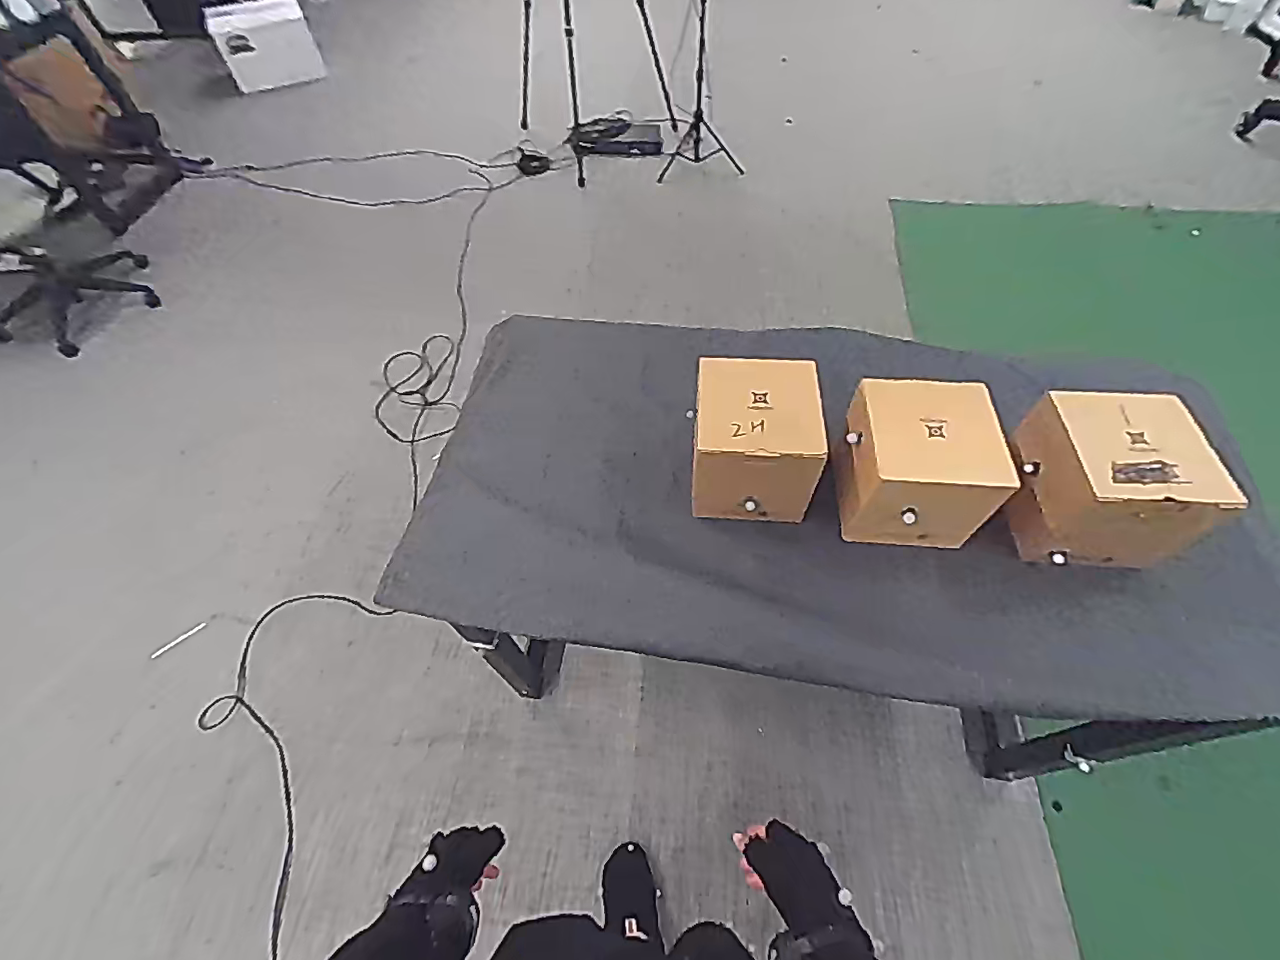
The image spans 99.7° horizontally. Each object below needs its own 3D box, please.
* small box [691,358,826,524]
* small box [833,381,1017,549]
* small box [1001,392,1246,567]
[{"bbox_3d":[0.162,-0.056,0.794,0.168,0.176,0.179,3,55,5],"label":"small box"},{"bbox_3d":[0.380,-0.017,0.760,0.168,0.176,0.179,3,55,5],"label":"small box"},{"bbox_3d":[0.618,0.004,0.732,0.168,0.176,0.179,3,55,5],"label":"small box"}]
